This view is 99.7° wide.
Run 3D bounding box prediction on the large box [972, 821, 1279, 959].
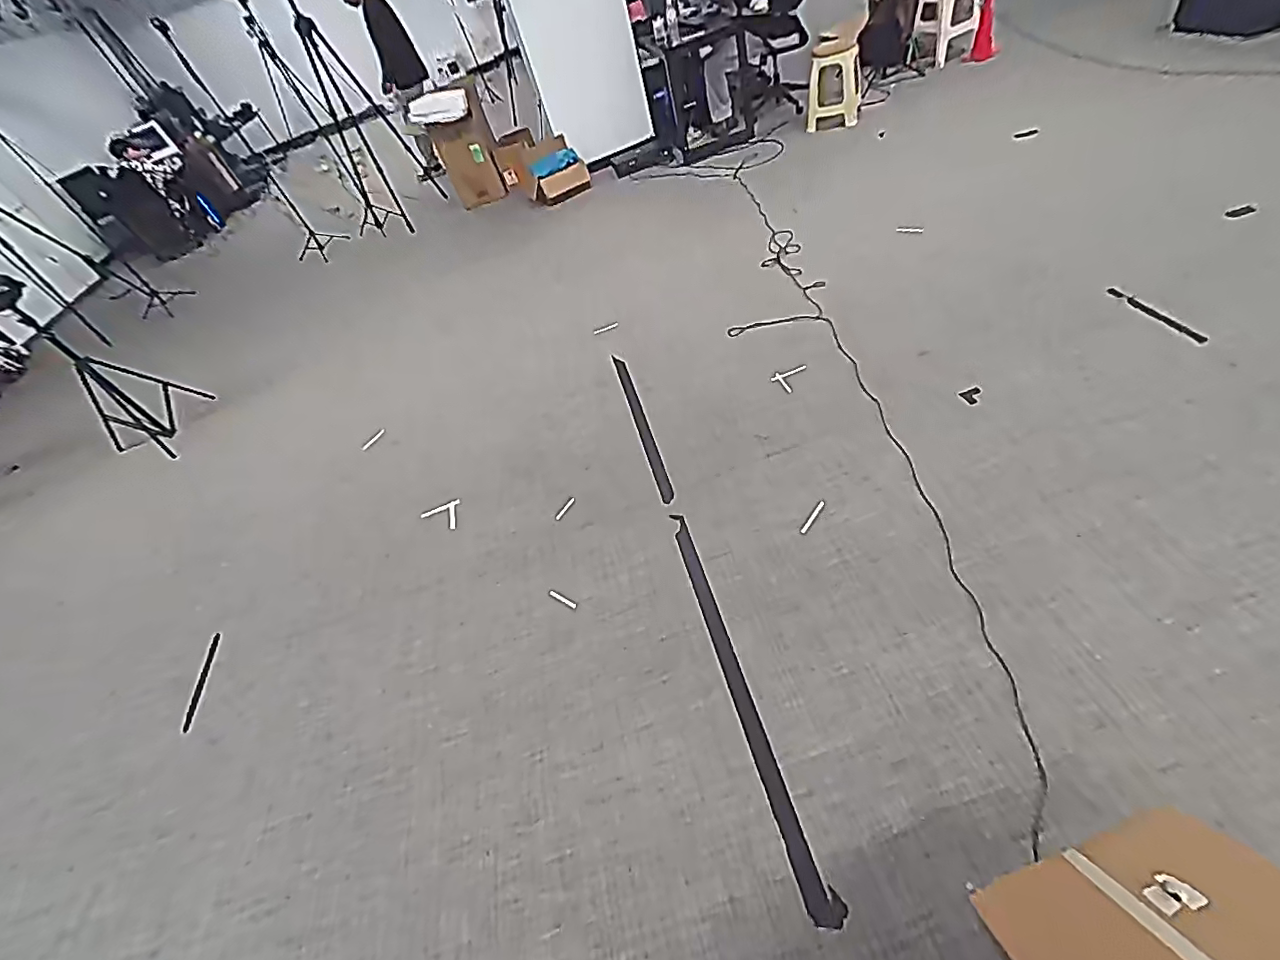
[{"bbox_3d":[0.658,0.654,0.555,0.320,0.408,0.320,-25,79,3],"label":"large box"}]
